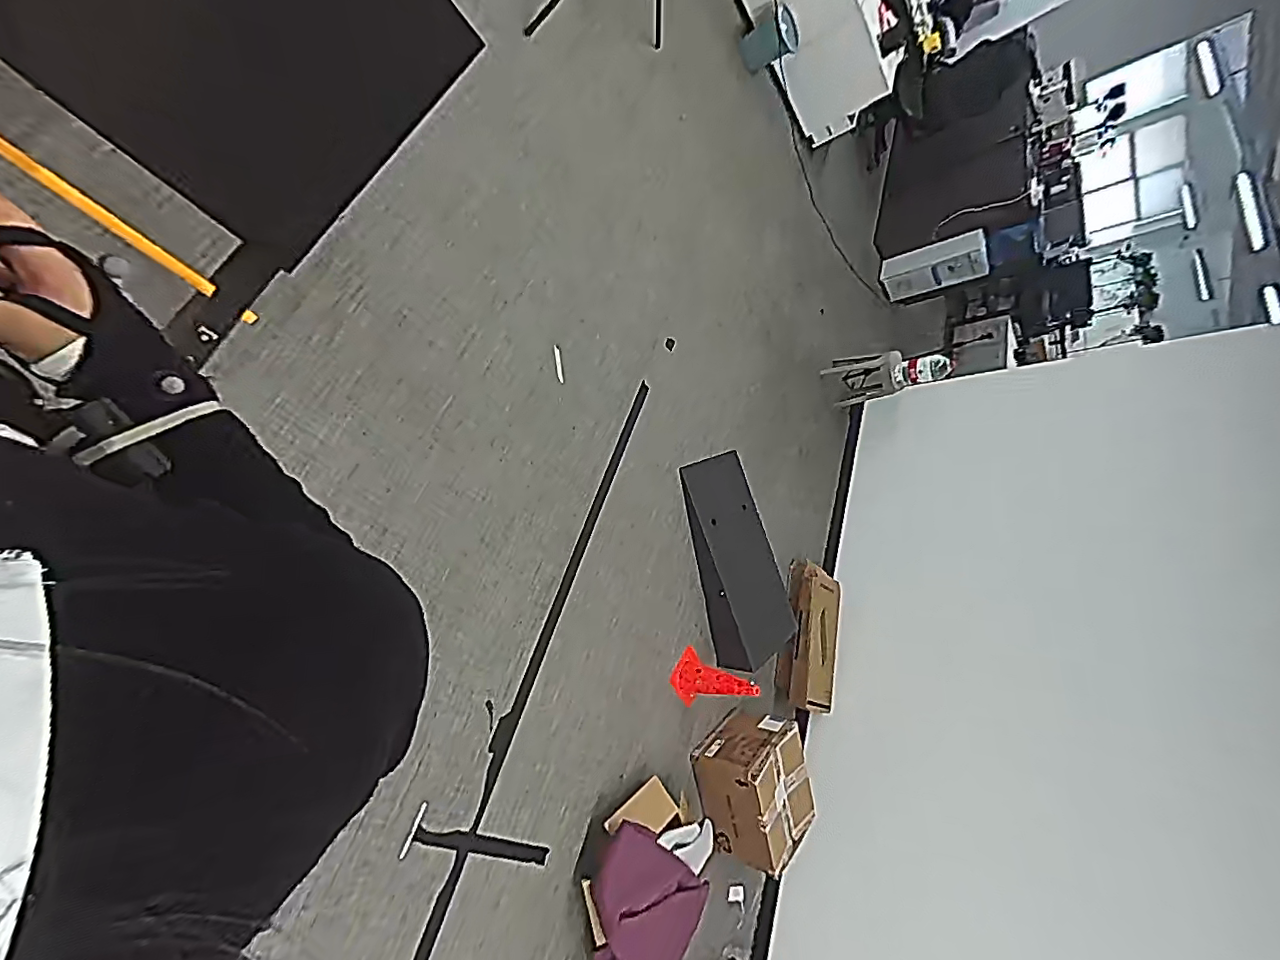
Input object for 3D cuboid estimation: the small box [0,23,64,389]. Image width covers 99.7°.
[{"bbox_3d":[-0.381,-0.144,0.219,0.168,0.176,0.179,-16,89,-52],"label":"small box"}]
